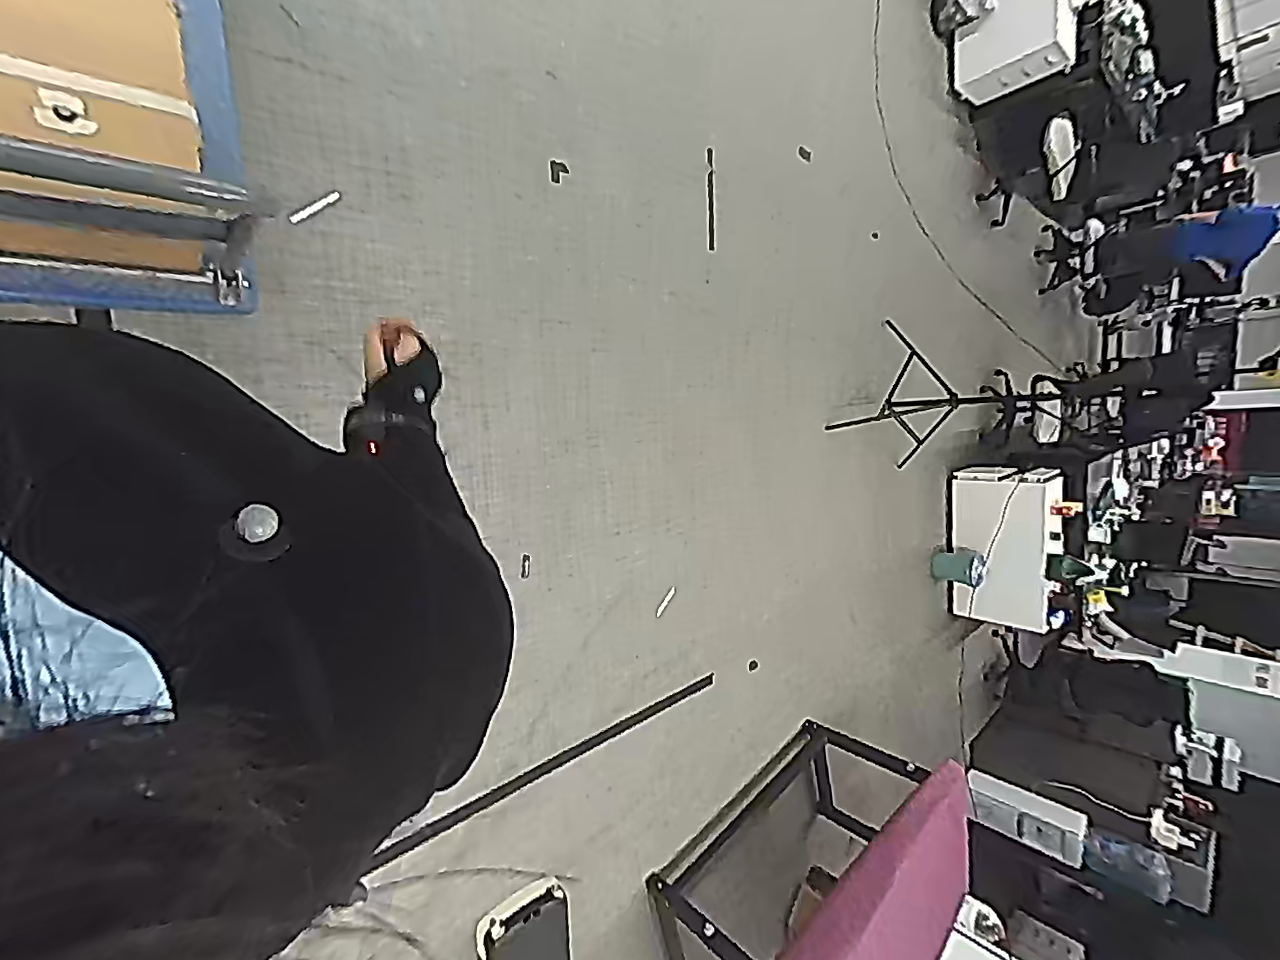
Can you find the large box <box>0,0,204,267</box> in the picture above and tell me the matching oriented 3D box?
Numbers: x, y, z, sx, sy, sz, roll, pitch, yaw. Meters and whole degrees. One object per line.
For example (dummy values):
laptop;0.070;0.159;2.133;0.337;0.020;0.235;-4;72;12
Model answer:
large box;-0.925;-0.529;0.792;0.408;0.320;0.320;-9;99;-41
